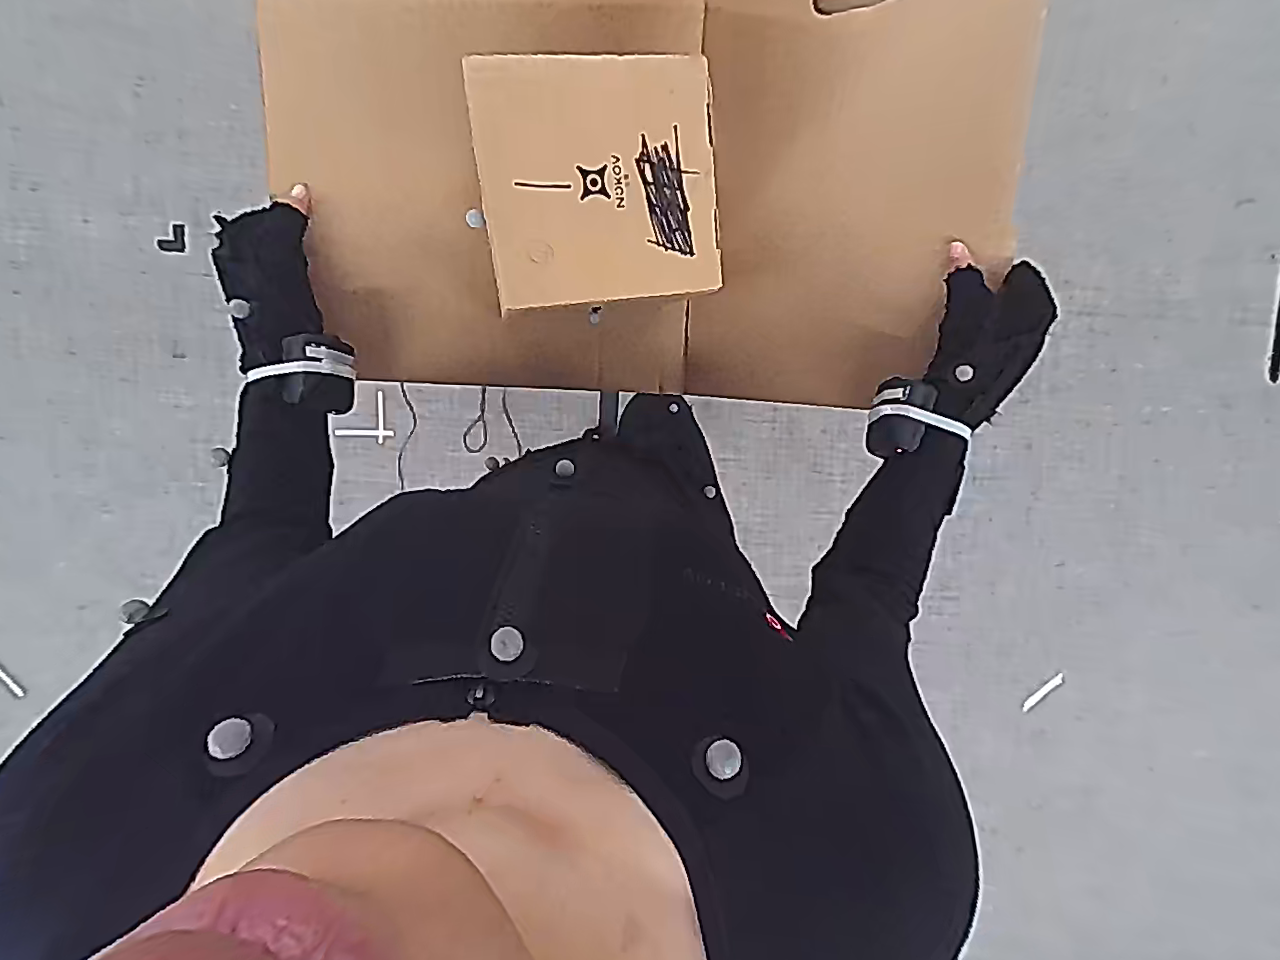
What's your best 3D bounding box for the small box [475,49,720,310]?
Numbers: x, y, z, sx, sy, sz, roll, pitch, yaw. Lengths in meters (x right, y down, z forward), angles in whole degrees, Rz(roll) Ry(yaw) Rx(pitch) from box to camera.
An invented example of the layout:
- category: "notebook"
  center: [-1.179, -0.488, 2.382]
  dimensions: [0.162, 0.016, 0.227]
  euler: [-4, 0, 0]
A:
- category: "small box"
  center: [-0.044, -0.247, 0.484]
  dimensions: [0.179, 0.176, 0.168]
  euler: [-9, 105, -11]
